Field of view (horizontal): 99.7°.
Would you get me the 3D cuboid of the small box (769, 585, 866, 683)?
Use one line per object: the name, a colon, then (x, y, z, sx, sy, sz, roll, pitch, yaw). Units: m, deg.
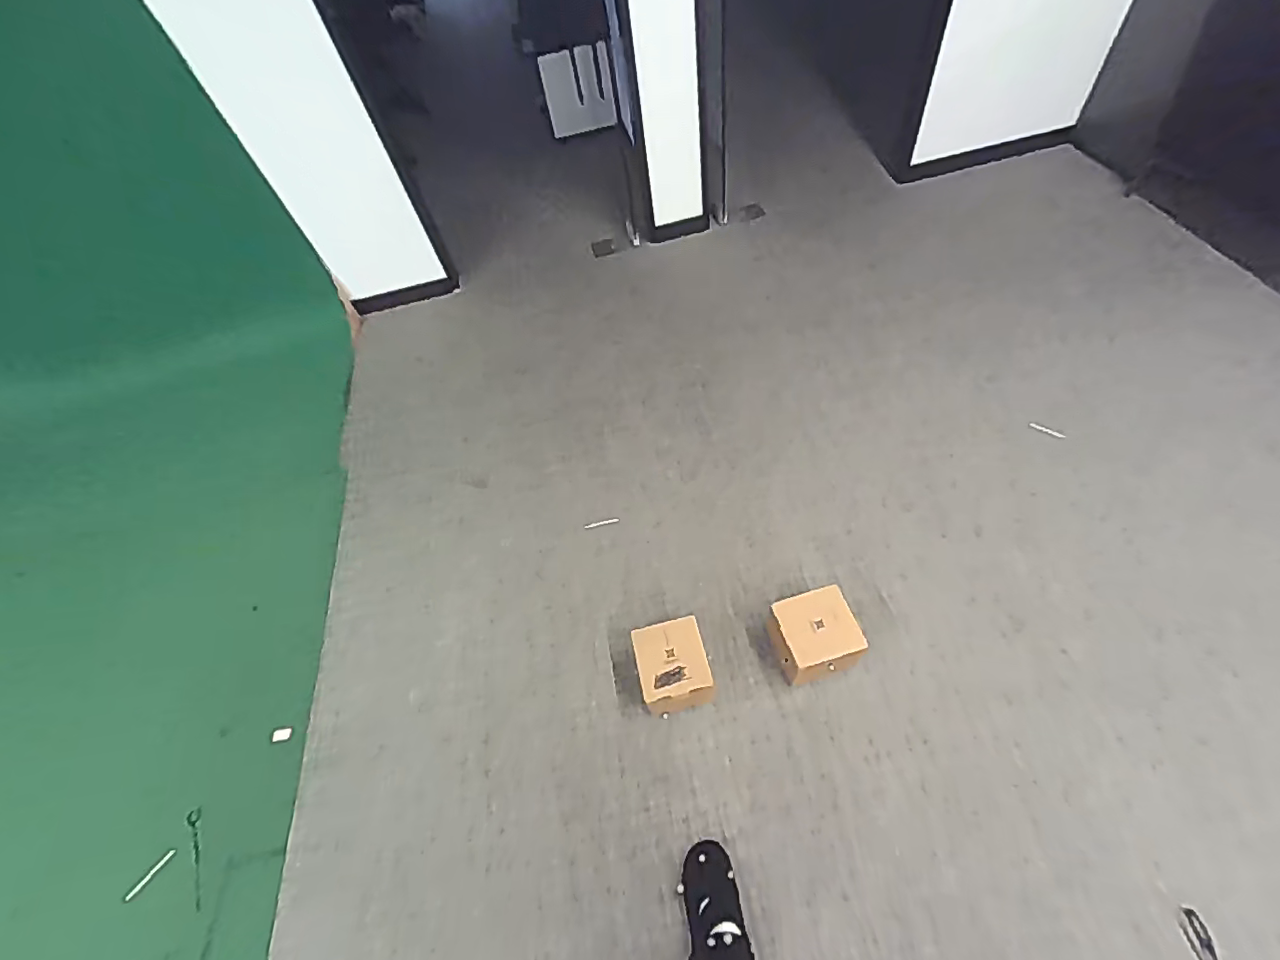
small box: (0.431, 0.389, 1.347, 0.179, 0.176, 0.168, -16, 56, -2)

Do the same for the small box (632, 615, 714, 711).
small box: (0.085, 0.465, 1.352, 0.168, 0.176, 0.179, -14, 54, 0)
